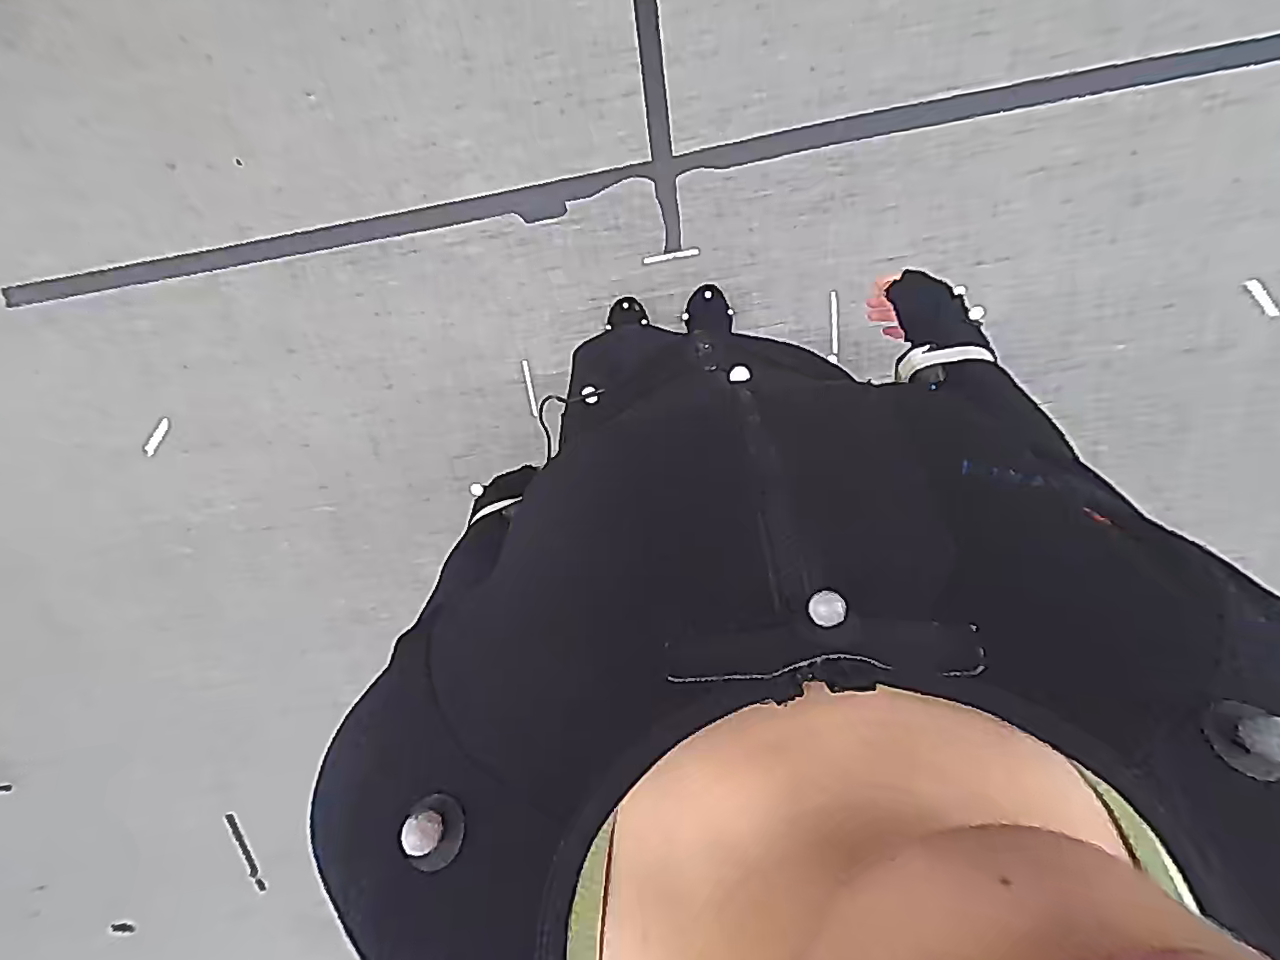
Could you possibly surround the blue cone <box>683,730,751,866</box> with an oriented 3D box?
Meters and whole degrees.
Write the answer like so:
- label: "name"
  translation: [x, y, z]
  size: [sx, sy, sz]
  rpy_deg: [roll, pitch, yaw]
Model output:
- label: "blue cone"
  translation: [0.249, 0.975, 1.634]
  size: [0.193, 0.380, 0.192]
  rpy_deg: [-23, 107, 11]
